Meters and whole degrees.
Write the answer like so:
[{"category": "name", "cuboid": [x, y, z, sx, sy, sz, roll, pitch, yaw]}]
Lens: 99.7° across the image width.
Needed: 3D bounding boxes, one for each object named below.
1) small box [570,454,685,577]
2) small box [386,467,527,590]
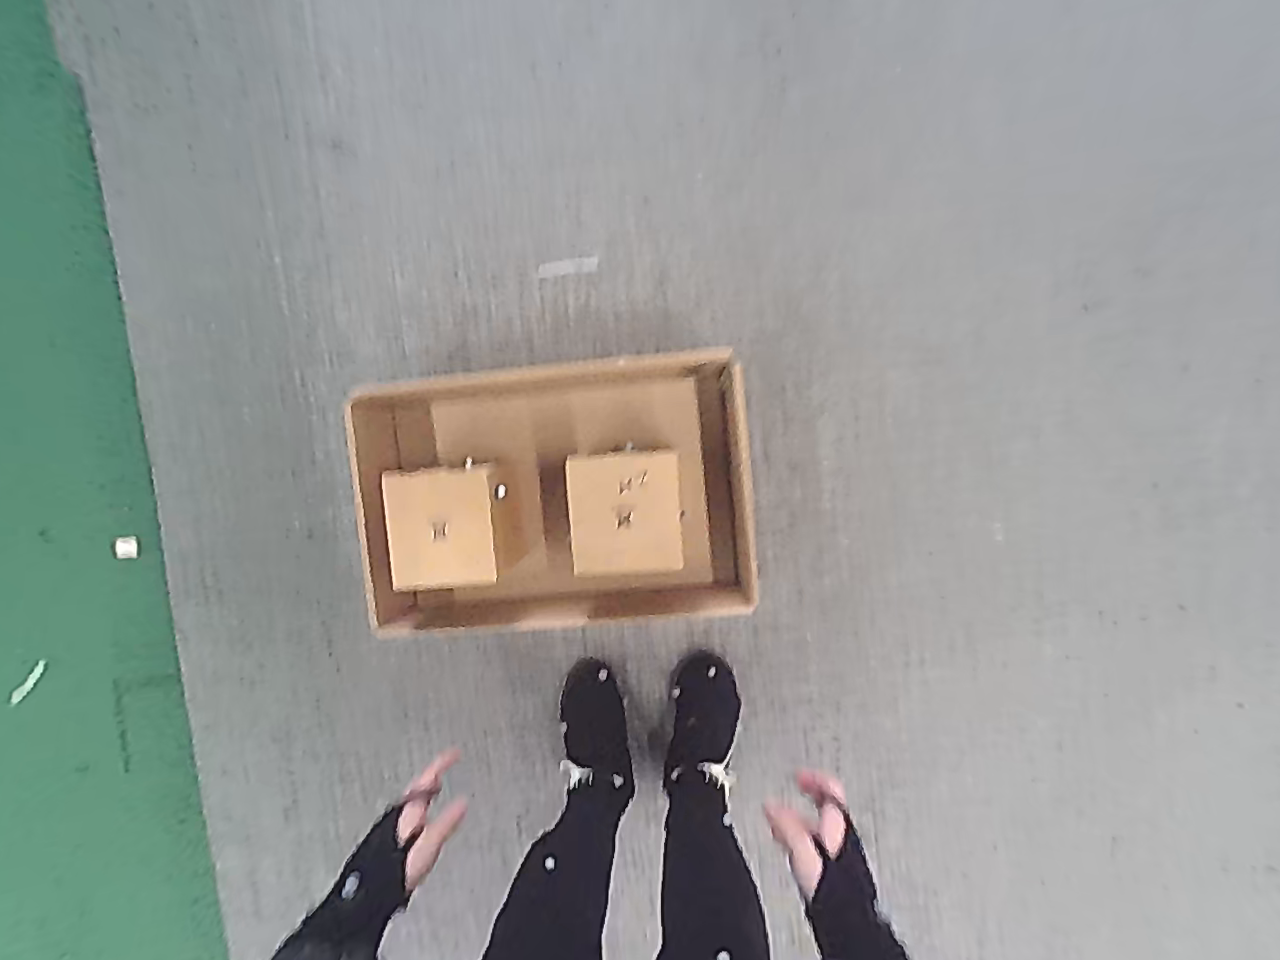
[{"category": "small box", "cuboid": [-0.012, 0.050, 0.874, 0.168, 0.176, 0.179, -3, 93, 5]}, {"category": "small box", "cuboid": [-0.293, 0.074, 0.896, 0.168, 0.176, 0.179, -5, 92, 4]}]
